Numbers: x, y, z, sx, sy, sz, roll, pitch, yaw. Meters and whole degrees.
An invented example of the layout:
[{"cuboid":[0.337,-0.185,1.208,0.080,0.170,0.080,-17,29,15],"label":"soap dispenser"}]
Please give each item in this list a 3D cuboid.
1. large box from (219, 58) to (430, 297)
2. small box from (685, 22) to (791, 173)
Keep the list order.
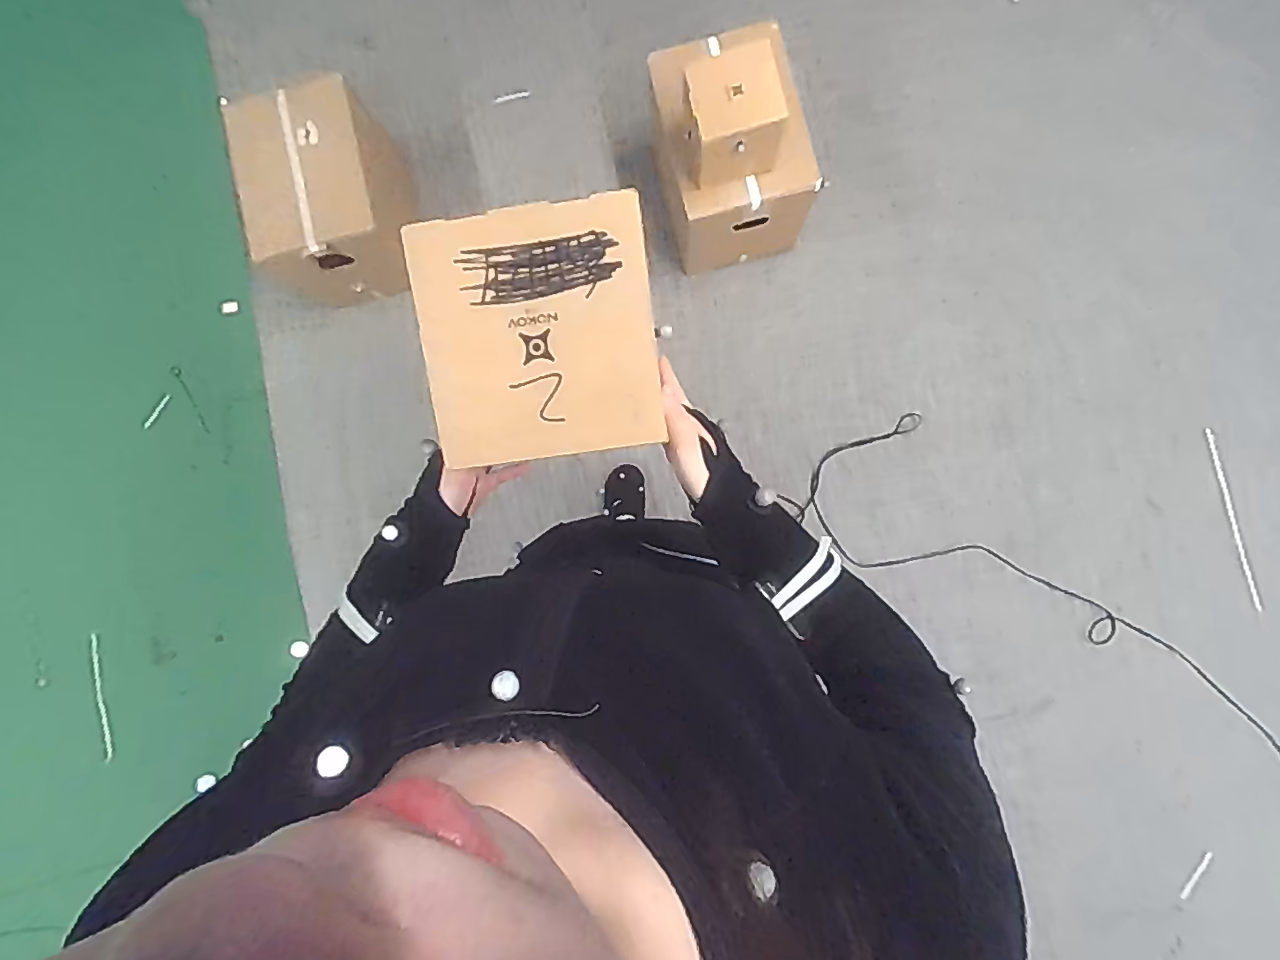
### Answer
[{"cuboid":[-0.801,-0.760,1.419,0.320,0.320,0.408,-13,87,4],"label":"large box"},{"cuboid":[0.195,-0.776,1.115,0.179,0.176,0.168,-14,88,6],"label":"small box"}]
